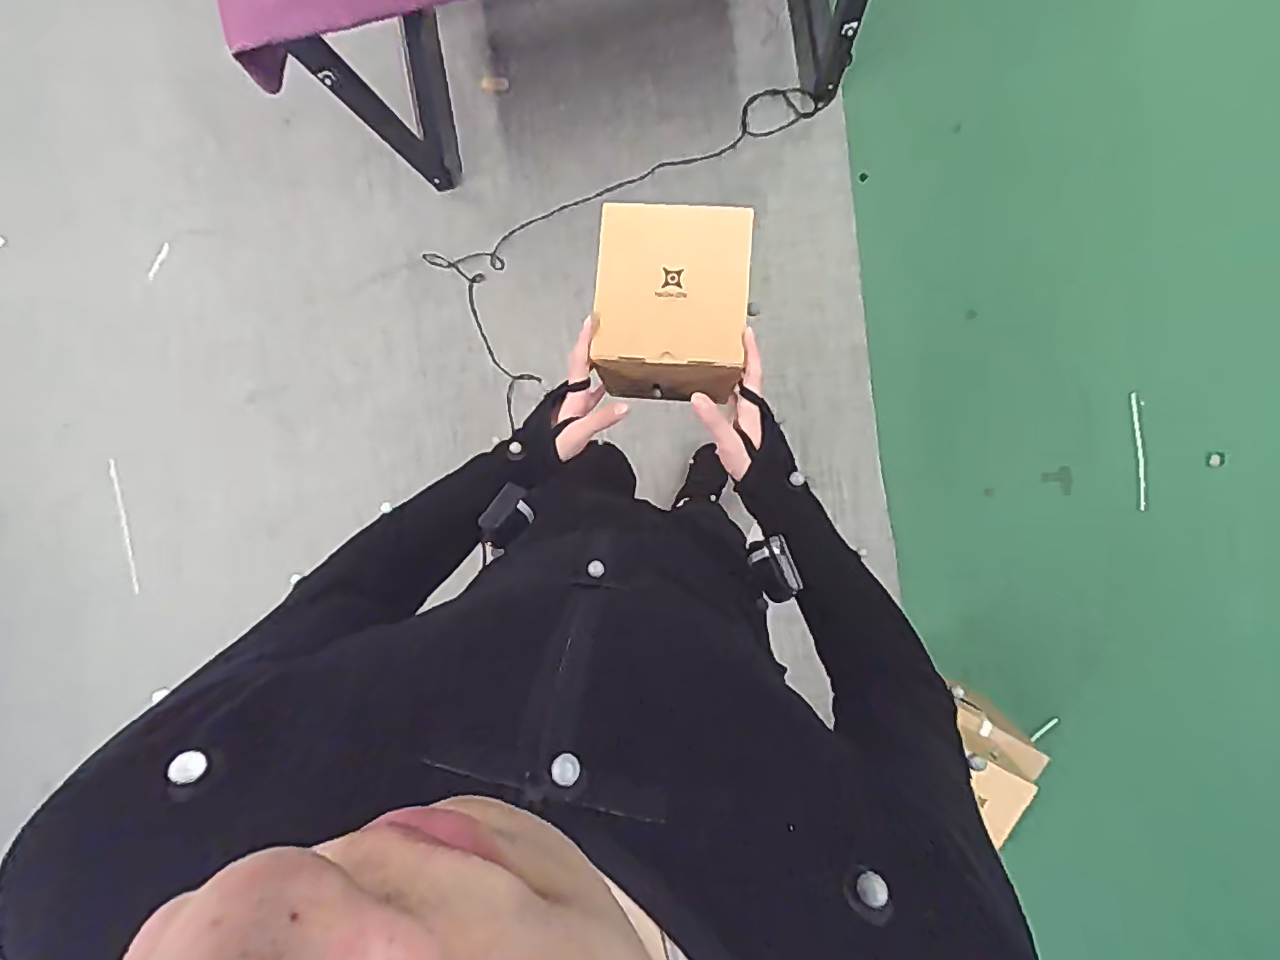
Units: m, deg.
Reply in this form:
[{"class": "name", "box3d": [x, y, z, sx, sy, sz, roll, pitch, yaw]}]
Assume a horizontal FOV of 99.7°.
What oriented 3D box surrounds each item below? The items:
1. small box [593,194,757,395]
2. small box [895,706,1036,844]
[{"class": "small box", "box3d": [0.041, -0.211, 0.653, 0.168, 0.176, 0.179, 4, 87, 3]}, {"class": "small box", "box3d": [0.699, 0.632, 1.185, 0.179, 0.176, 0.168, 28, 97, 6]}]
